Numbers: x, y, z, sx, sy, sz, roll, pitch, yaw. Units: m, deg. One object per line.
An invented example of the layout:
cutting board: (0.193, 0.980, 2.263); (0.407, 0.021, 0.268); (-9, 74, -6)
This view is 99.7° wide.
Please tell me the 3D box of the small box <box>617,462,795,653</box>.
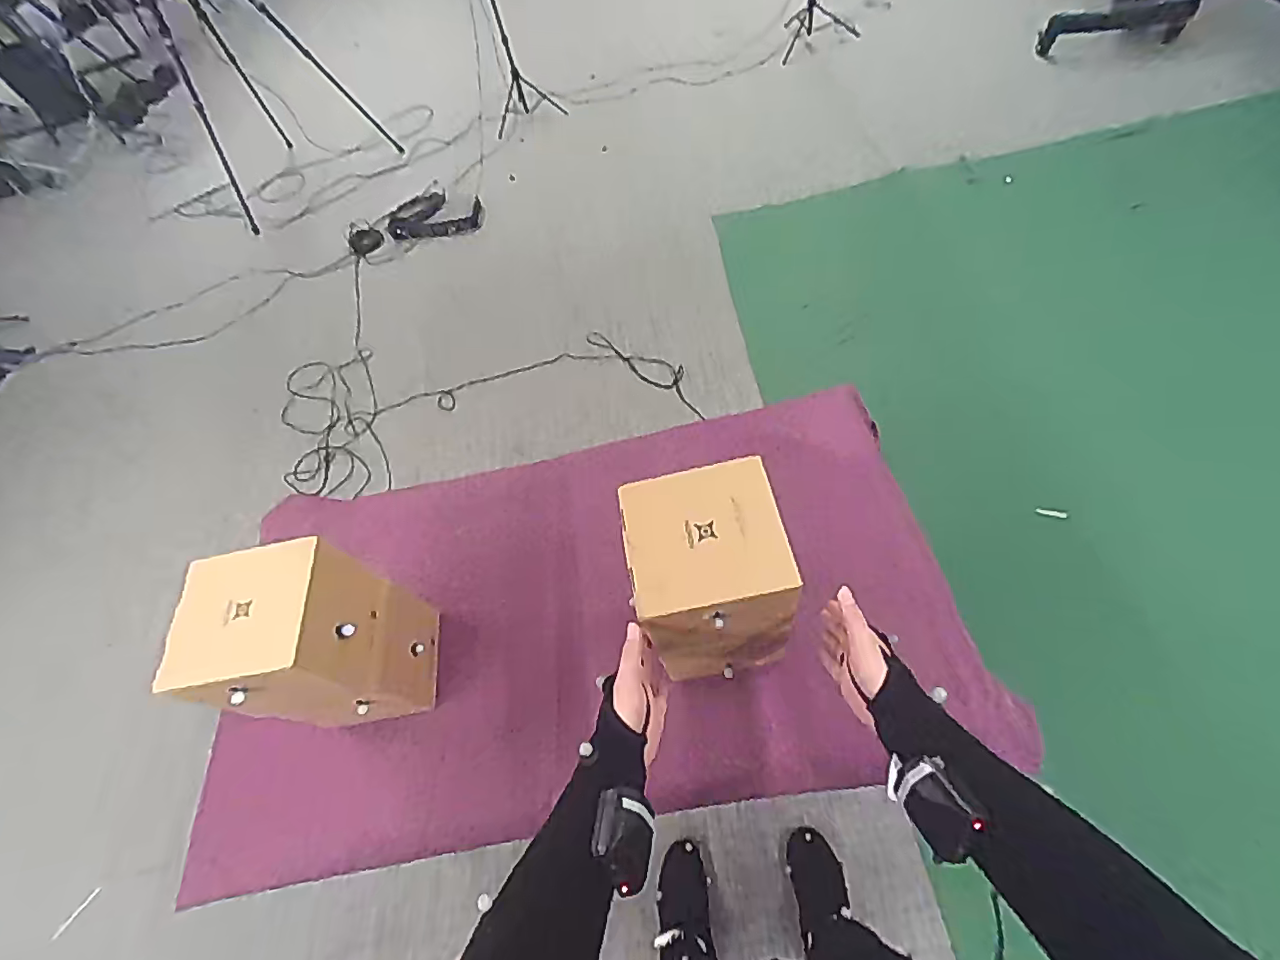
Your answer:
small box: (0.081, 0.104, 0.671); (0.179, 0.176, 0.168); (-12, 59, 4)

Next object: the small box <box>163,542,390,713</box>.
small box: (-0.462, 0.203, 0.723); (0.179, 0.176, 0.168); (-12, 58, 4)

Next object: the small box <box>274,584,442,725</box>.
small box: (-0.435, 0.283, 0.862); (0.179, 0.176, 0.168); (-12, 57, 4)

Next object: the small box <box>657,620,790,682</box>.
small box: (0.109, 0.189, 0.809); (0.179, 0.176, 0.168); (-13, 57, 3)
